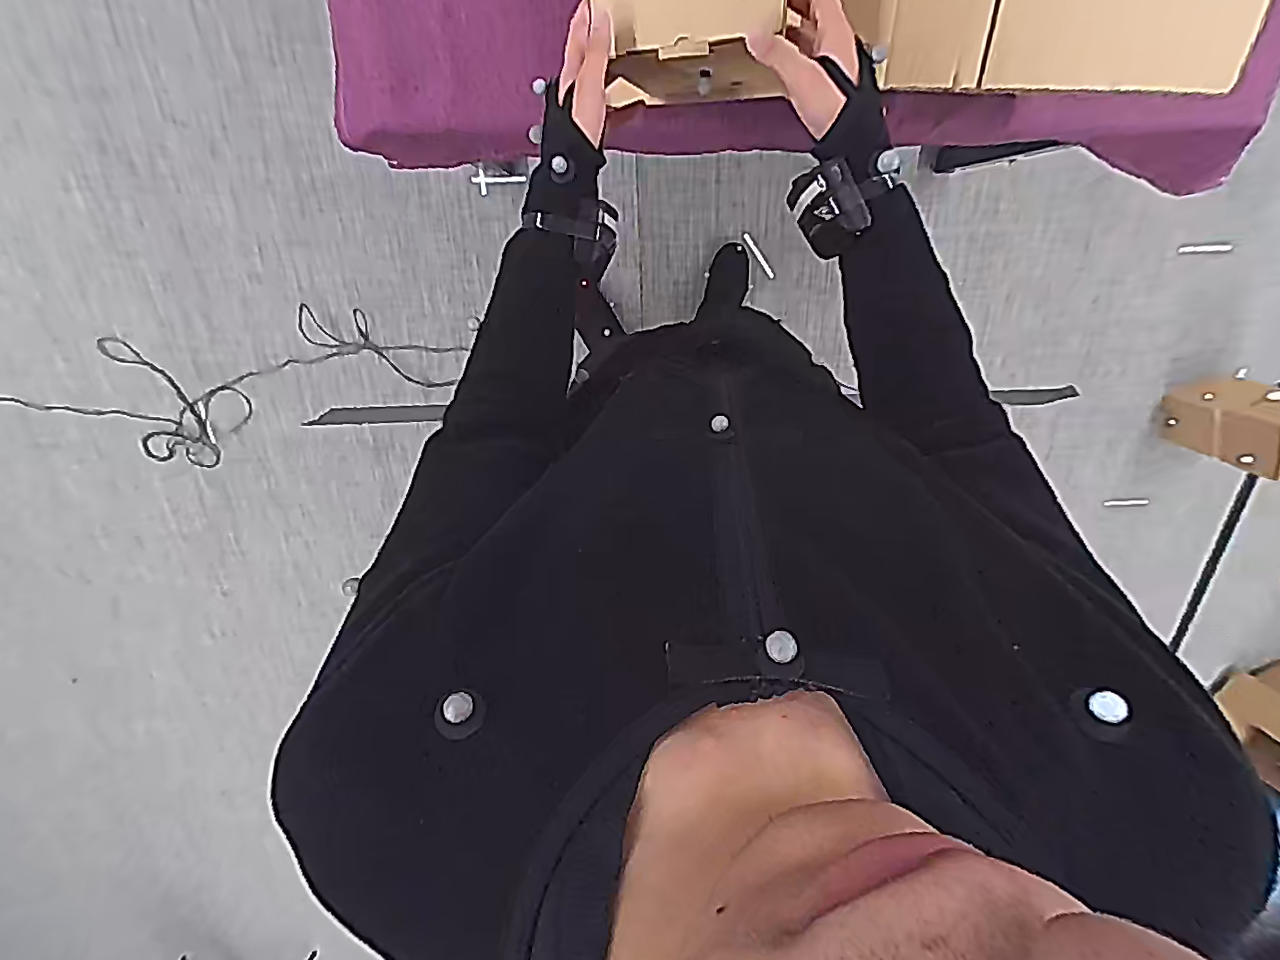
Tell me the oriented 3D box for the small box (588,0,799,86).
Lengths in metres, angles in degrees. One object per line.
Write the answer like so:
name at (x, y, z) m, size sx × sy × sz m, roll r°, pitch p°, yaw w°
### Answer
small box at (0.058, -0.478, 0.491) m, size 0.168 × 0.176 × 0.179 m, roll 7°, pitch 117°, yaw 17°
